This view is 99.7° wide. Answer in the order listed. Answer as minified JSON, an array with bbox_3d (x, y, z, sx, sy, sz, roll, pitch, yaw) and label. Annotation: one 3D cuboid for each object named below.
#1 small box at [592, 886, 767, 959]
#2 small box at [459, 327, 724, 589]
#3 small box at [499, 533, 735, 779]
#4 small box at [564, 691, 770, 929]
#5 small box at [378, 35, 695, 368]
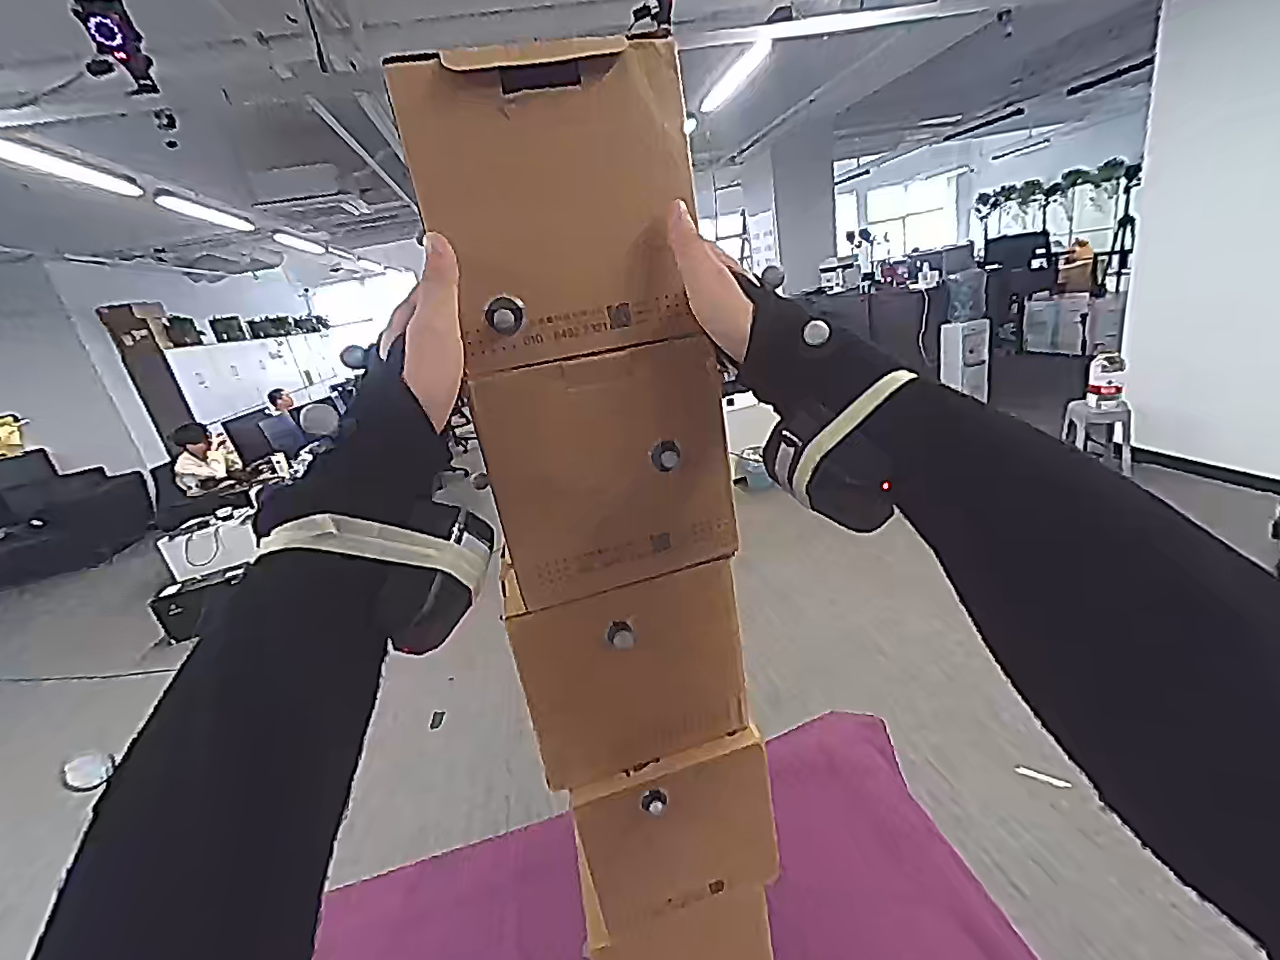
[{"bbox_3d":[0.053,0.589,0.643,0.179,0.176,0.168,-15,19,-9],"label":"small box"},{"bbox_3d":[-0.042,-0.026,0.447,0.168,0.176,0.179,-13,18,-12],"label":"small box"},{"bbox_3d":[-0.022,0.128,0.495,0.179,0.176,0.168,-14,20,-10],"label":"small box"},{"bbox_3d":[0.015,0.281,0.538,0.168,0.176,0.179,-14,19,-10],"label":"small box"},{"bbox_3d":[-0.067,-0.183,0.401,0.168,0.176,0.179,-13,18,-10],"label":"small box"}]
